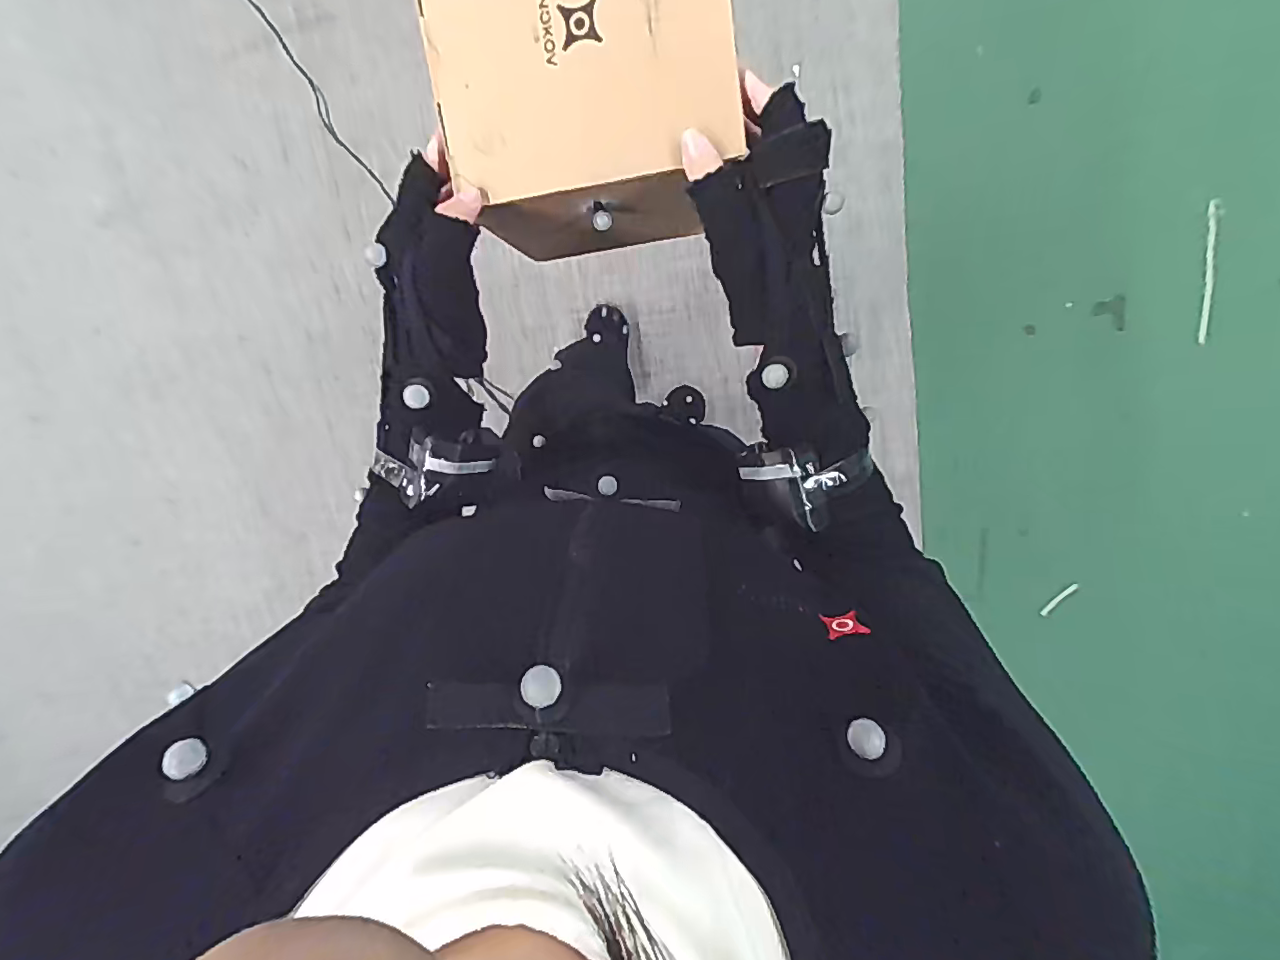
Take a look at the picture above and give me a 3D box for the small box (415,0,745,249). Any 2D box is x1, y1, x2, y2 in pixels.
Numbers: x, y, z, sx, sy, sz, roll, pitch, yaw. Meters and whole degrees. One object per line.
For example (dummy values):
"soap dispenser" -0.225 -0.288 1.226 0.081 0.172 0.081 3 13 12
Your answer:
"small box" -0.029 -0.272 0.373 0.179 0.176 0.168 -7 102 7
